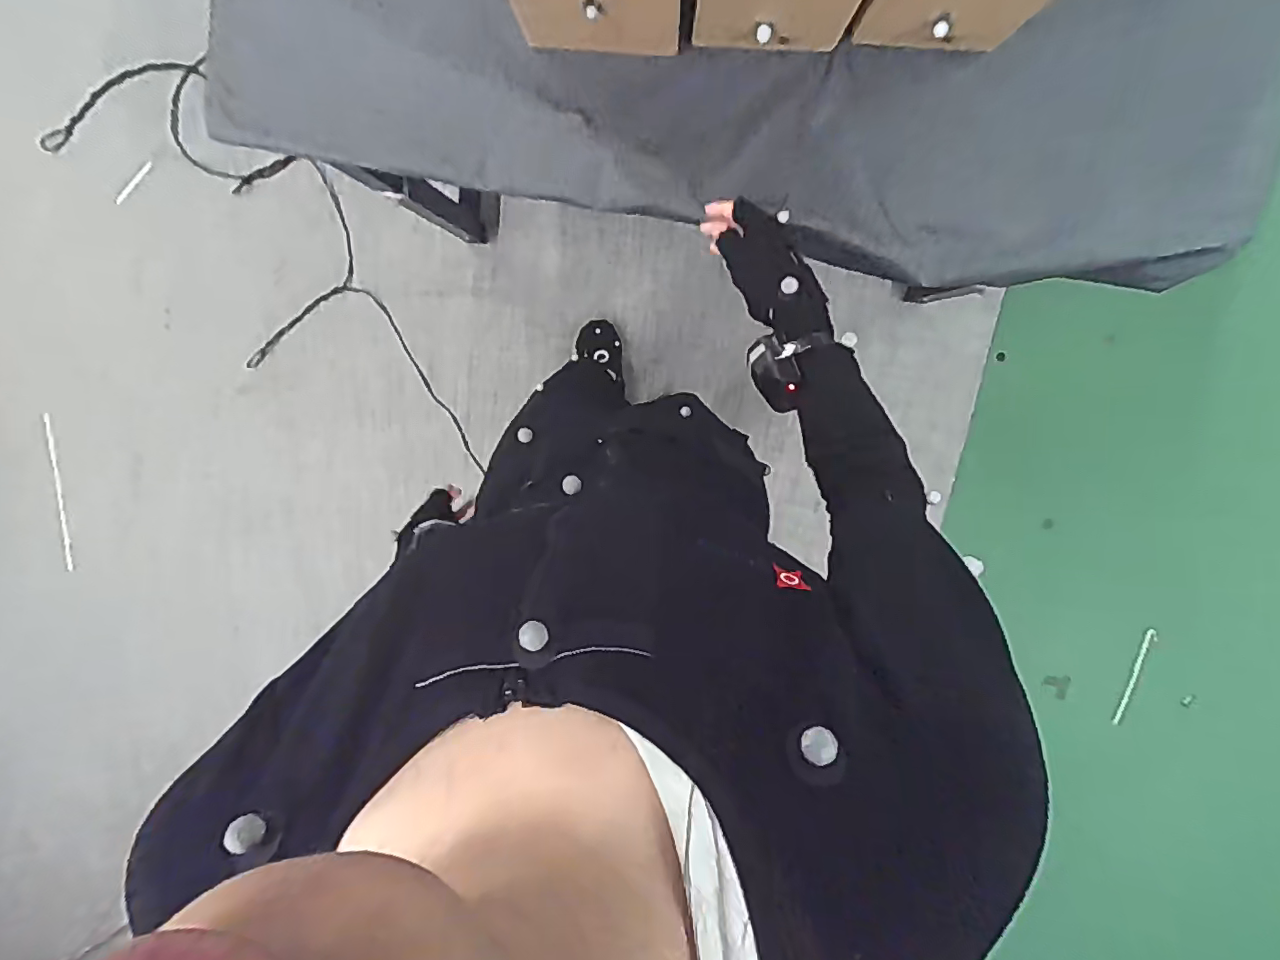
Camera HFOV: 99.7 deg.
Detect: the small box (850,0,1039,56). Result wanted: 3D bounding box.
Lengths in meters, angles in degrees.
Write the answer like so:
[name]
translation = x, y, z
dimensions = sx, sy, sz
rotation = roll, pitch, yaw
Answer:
[small box]
translation = 0.320, -0.561, 0.524
dimensions = 0.168, 0.176, 0.179
rotation = 5, 103, 2
